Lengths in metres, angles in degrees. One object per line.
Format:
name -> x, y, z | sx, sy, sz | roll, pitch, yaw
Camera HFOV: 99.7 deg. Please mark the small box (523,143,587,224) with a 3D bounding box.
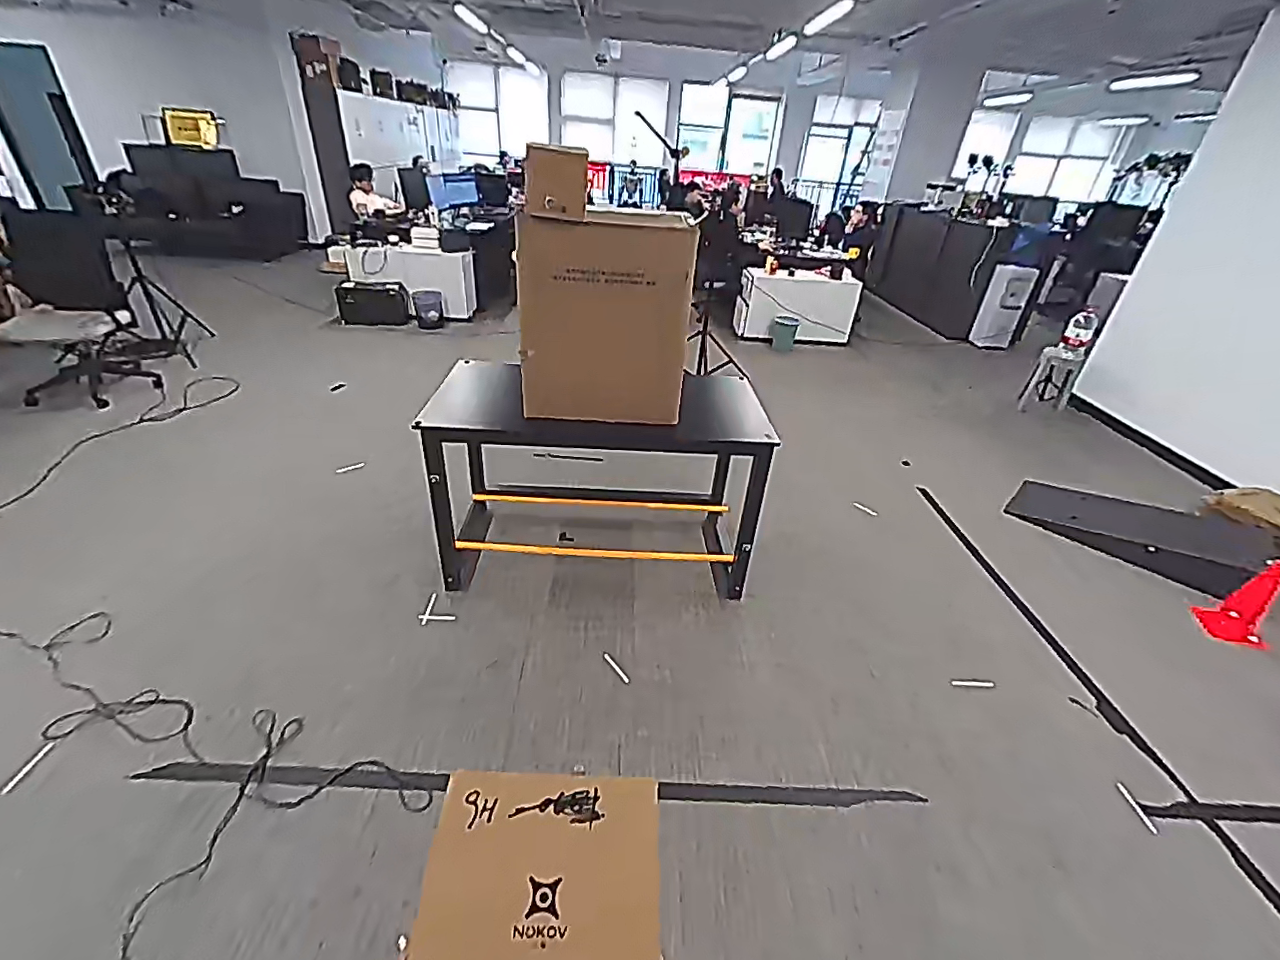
small box -> -0.236, -0.827, 1.507 | 0.168, 0.176, 0.179 | 1, 35, -8
